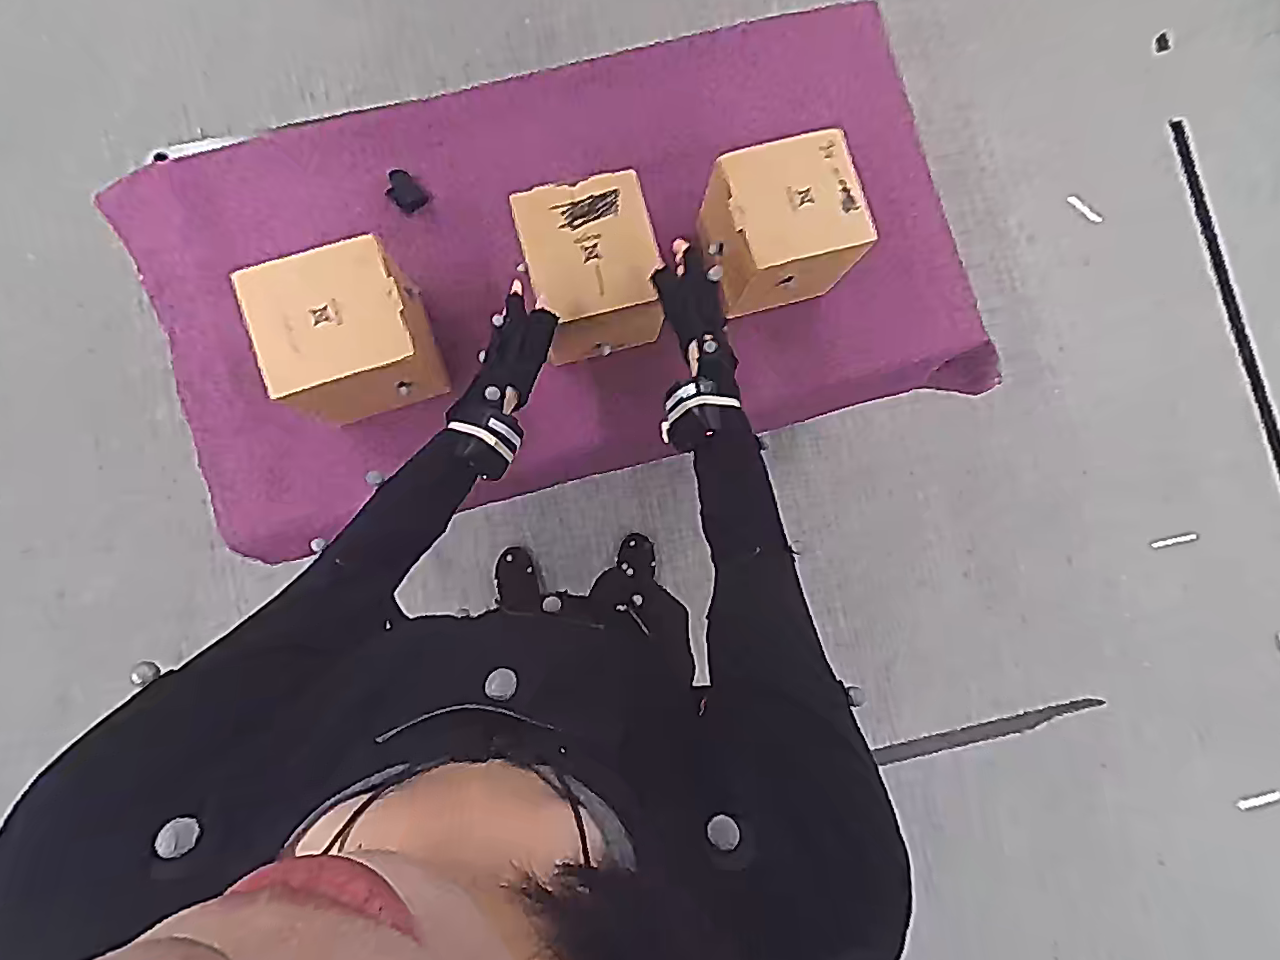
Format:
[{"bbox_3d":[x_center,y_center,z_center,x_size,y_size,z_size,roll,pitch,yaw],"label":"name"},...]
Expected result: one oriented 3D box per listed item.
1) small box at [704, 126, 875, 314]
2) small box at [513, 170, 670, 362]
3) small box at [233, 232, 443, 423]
[{"bbox_3d":[0.200,-0.364,0.787,0.179,0.176,0.168,-16,86,-5],"label":"small box"},{"bbox_3d":[-0.068,-0.287,0.757,0.168,0.176,0.179,-15,86,-6],"label":"small box"},{"bbox_3d":[-0.381,-0.191,0.722,0.179,0.176,0.168,-20,85,-6],"label":"small box"}]
